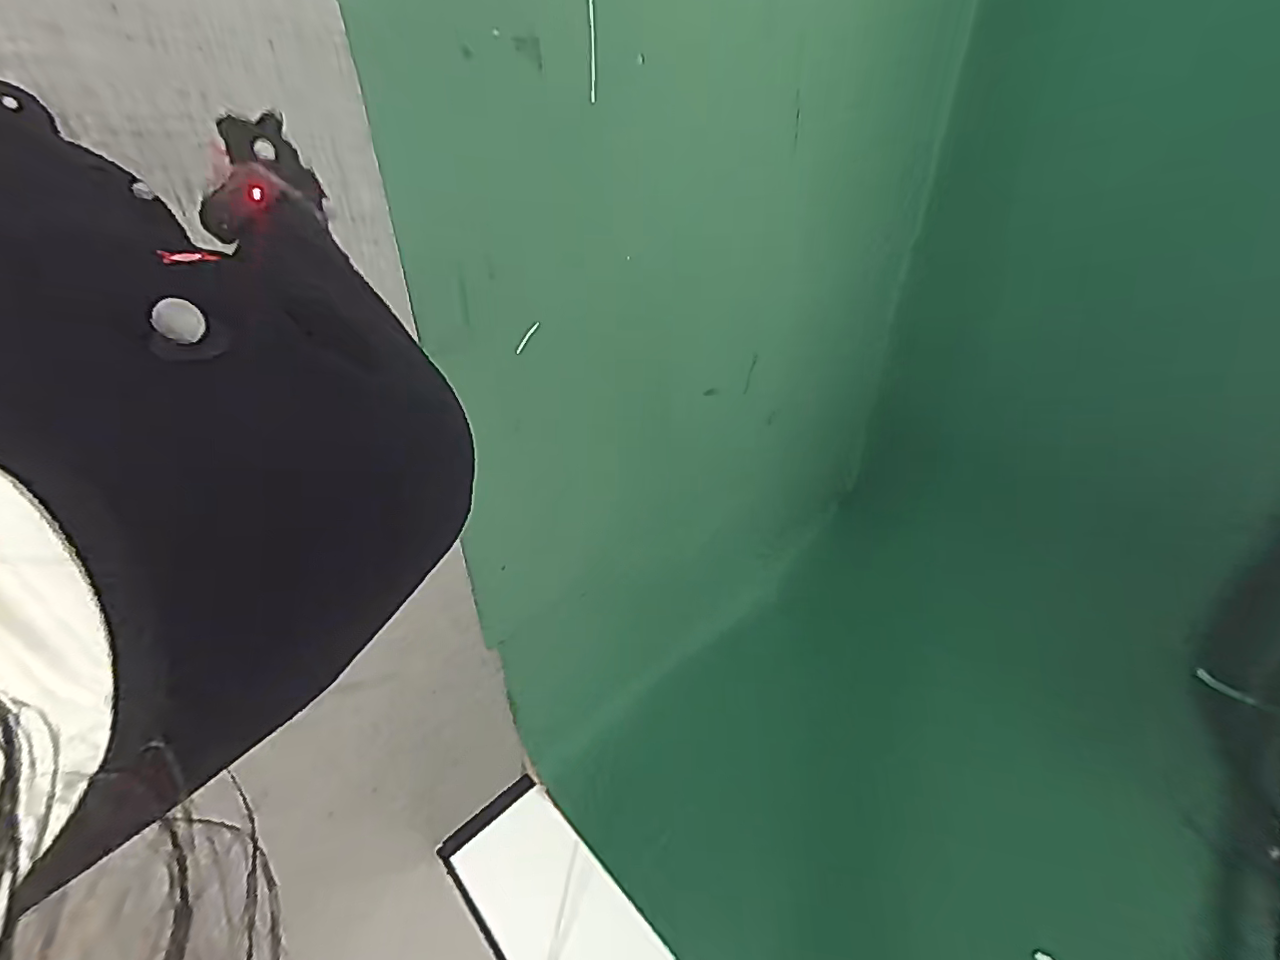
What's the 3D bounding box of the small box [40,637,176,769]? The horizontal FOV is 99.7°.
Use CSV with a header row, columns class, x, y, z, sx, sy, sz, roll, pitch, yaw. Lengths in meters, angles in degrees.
class,x,y,z,sx,sy,sz,roll,pitch,yaw
small box,-1.185,0.489,1.208,0.179,0.176,0.168,-23,129,-40
